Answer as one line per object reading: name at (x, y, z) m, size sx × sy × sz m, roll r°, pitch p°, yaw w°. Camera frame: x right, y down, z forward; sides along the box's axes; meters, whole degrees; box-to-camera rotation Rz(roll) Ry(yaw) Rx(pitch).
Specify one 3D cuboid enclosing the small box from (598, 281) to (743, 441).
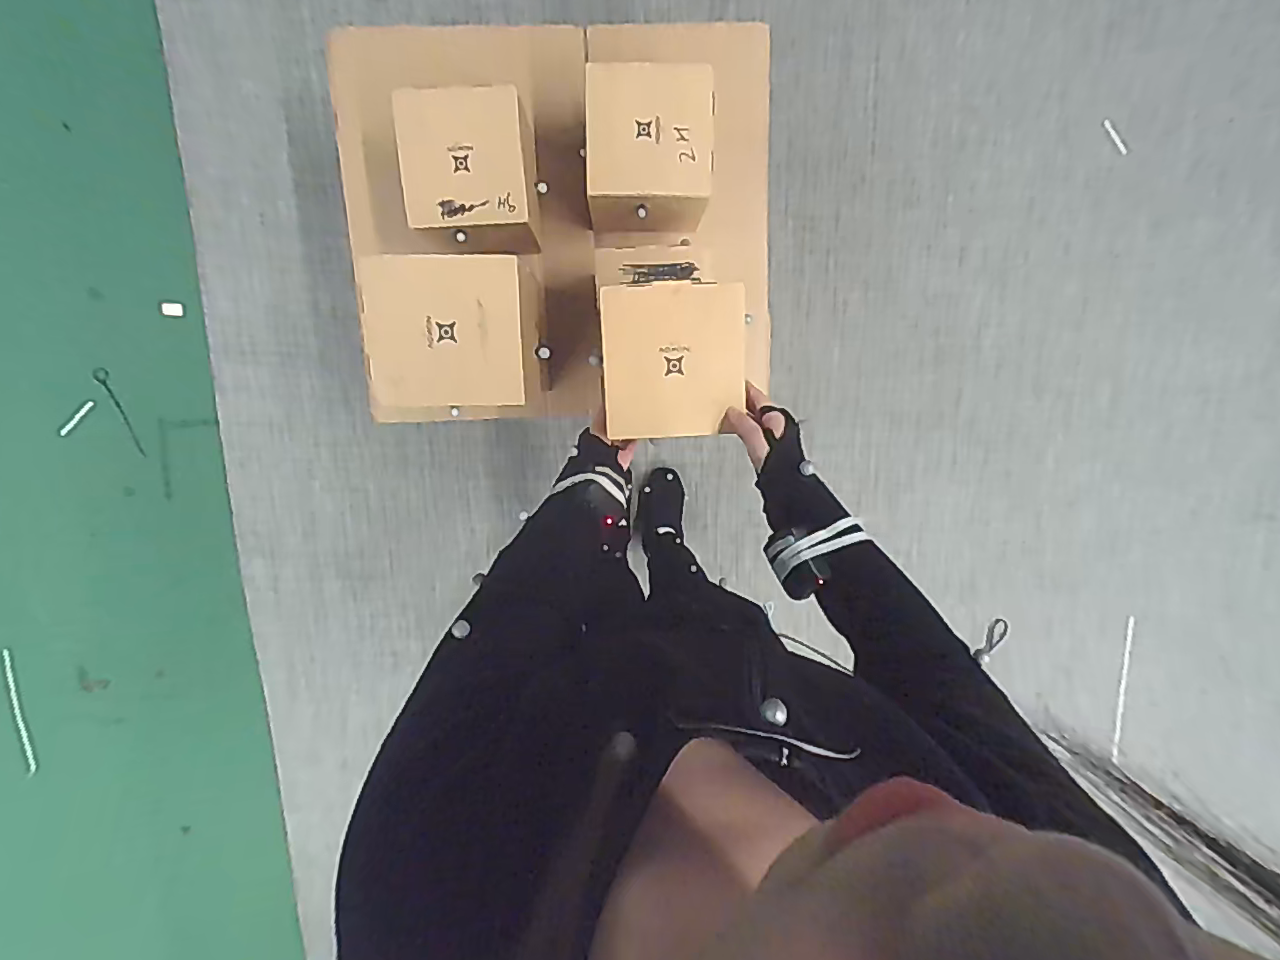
small box at (0.038, -0.147, 0.698) m, size 0.168 × 0.176 × 0.179 m, roll -3°, pitch 98°, yaw 0°

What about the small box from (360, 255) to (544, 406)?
small box at (-0.223, -0.179, 0.684) m, size 0.179 × 0.176 × 0.168 m, roll -1°, pitch 101°, yaw -3°

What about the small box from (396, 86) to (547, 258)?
small box at (-0.238, -0.442, 0.803) m, size 0.168 × 0.176 × 0.179 m, roll -4°, pitch 98°, yaw 0°
